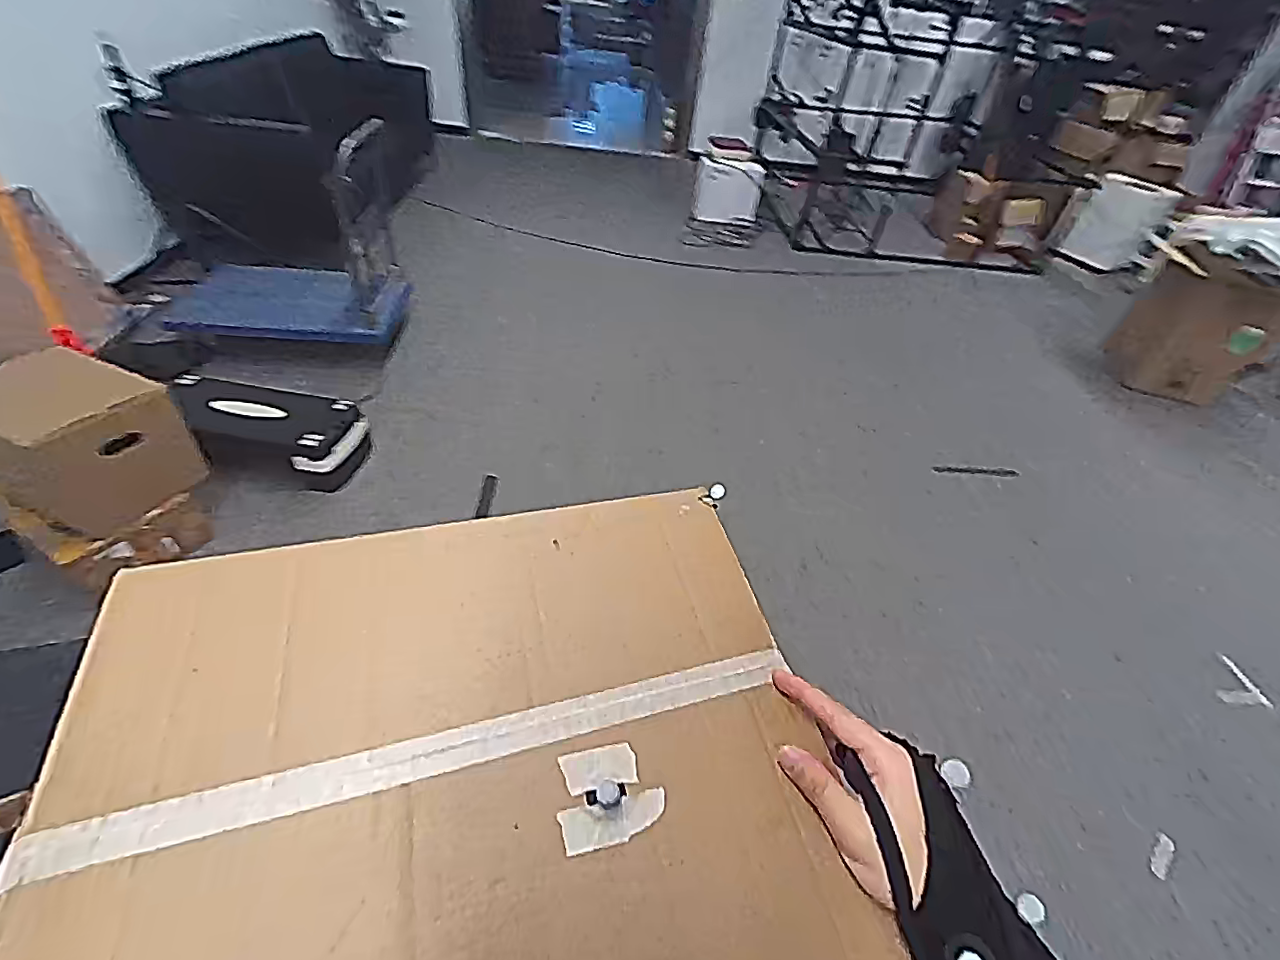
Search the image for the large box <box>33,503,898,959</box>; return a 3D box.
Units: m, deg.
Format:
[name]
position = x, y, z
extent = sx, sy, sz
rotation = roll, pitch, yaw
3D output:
[large box]
position = -0.112, 0.254, 0.429
extent = 0.408, 0.320, 0.320
rotation = -7, 52, -17
